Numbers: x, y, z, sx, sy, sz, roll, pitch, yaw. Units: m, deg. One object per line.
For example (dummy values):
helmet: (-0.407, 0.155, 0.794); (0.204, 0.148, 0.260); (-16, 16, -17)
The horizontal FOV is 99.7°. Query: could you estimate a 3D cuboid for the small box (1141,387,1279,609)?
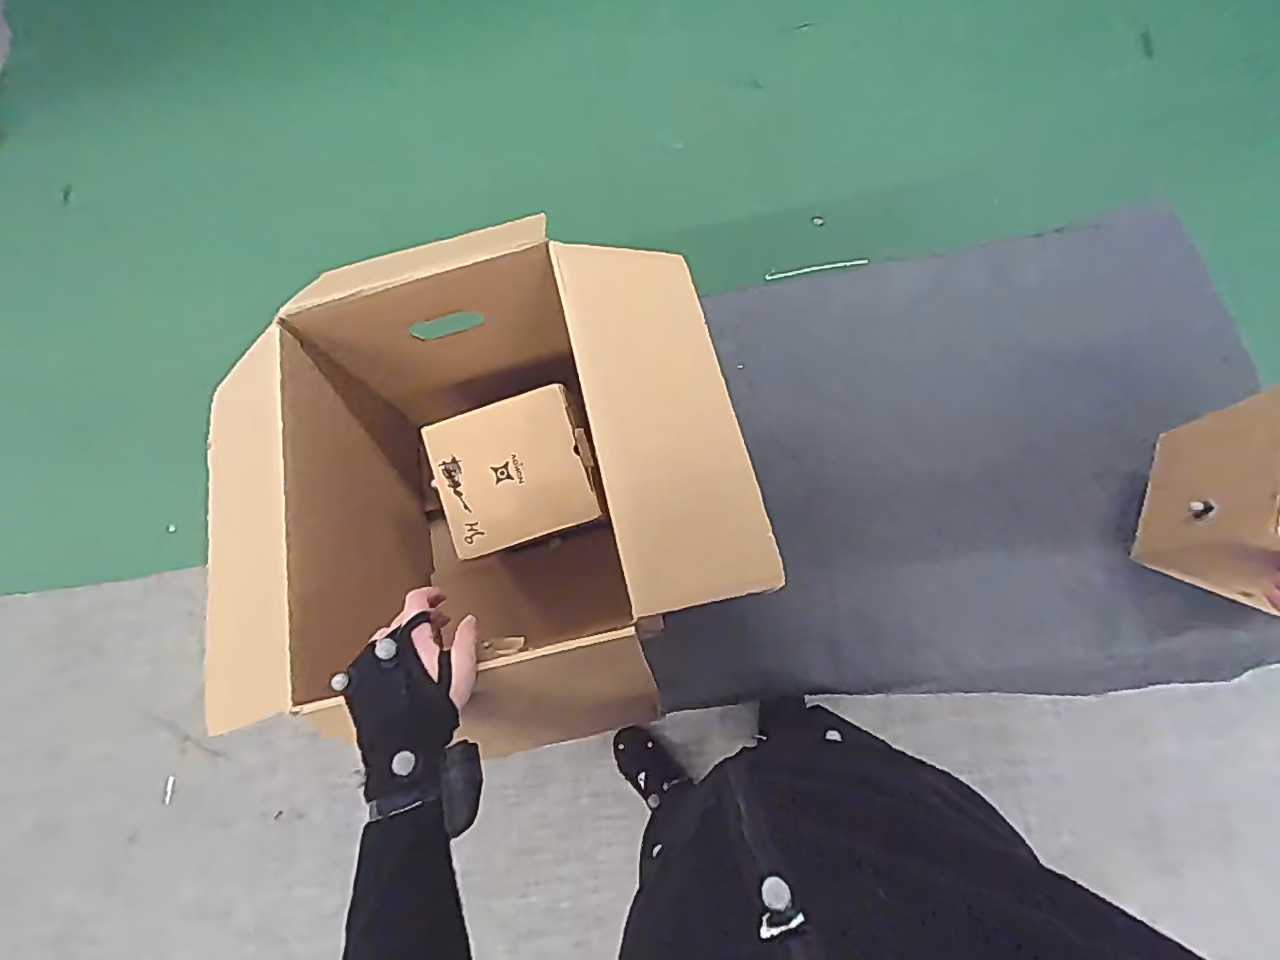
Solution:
small box: (0.693, 0.028, 0.573); (0.168, 0.176, 0.179); (23, 77, 10)
